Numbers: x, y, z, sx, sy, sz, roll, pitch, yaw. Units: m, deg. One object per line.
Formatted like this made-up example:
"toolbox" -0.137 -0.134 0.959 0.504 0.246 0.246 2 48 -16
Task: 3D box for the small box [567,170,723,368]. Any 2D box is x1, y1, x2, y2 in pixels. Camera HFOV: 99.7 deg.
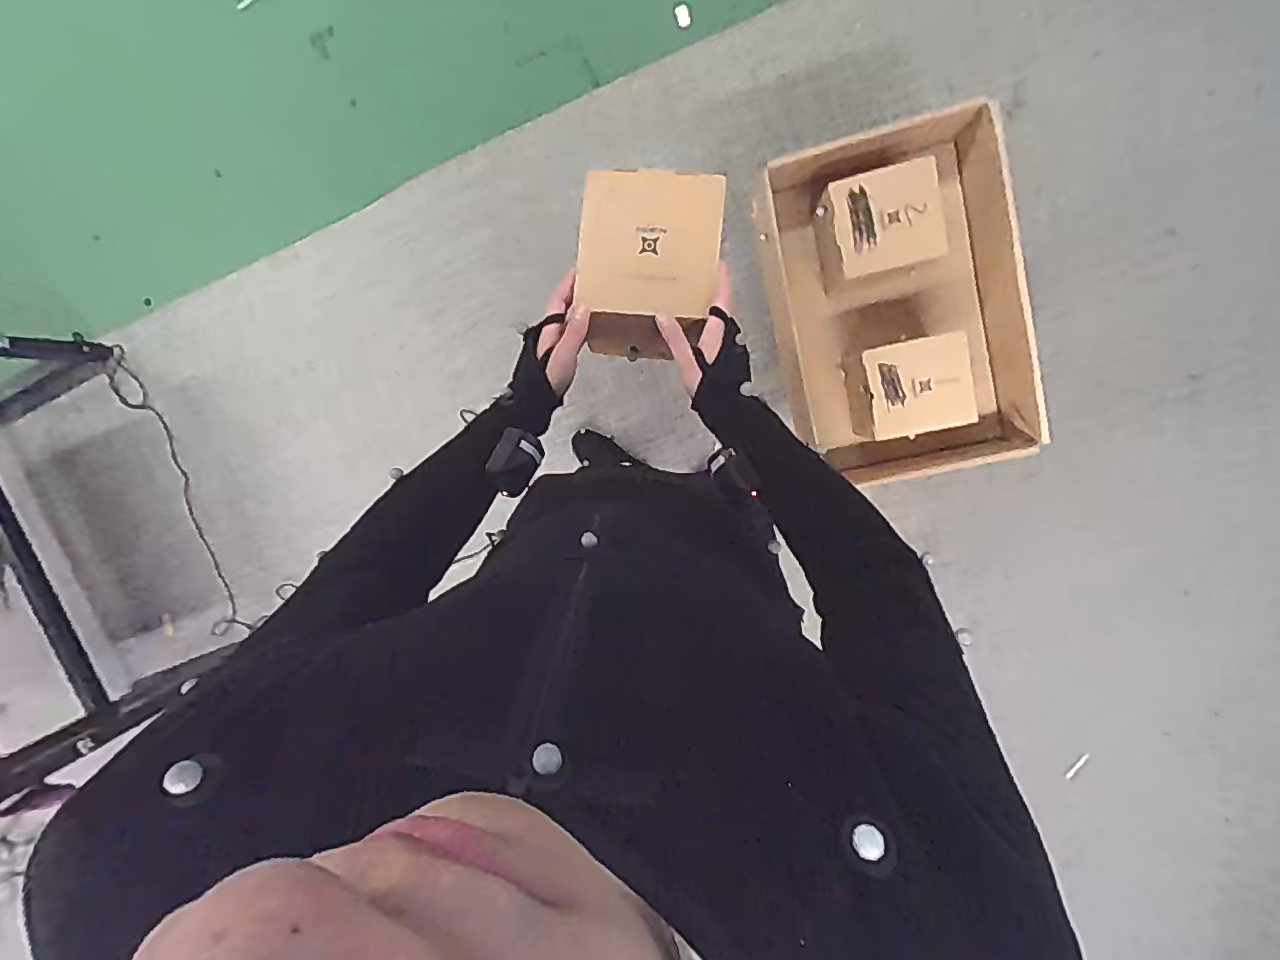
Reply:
"small box" 0.008 -0.260 0.700 0.168 0.176 0.179 6 85 3
